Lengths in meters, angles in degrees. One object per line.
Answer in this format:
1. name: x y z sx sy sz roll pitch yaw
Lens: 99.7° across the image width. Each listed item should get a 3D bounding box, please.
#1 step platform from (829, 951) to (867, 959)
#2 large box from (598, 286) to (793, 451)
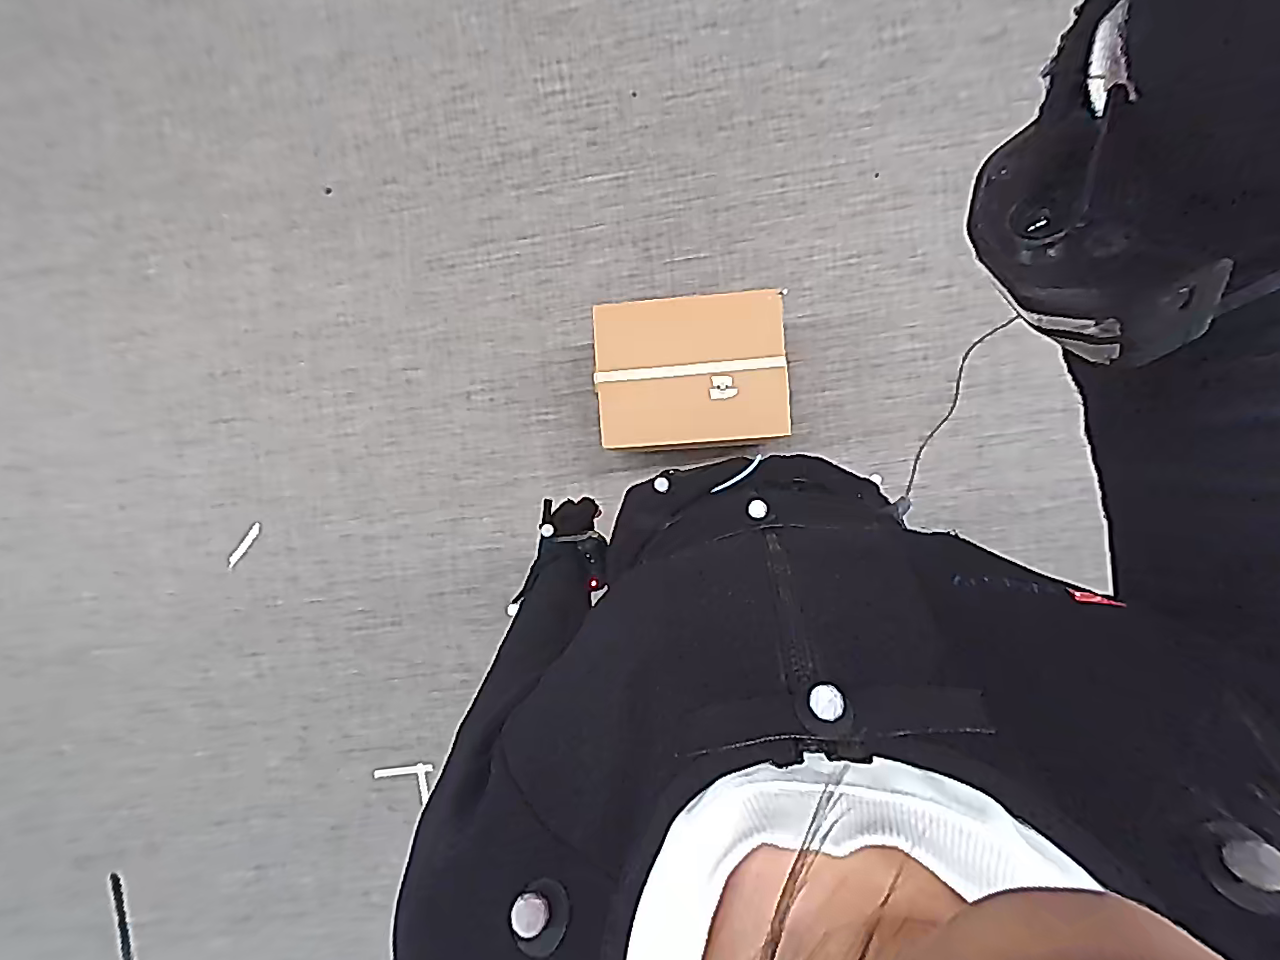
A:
1. step platform: 0.295 1.433 1.376 0.684 0.204 0.286 -8 90 7
2. large box: 0.126 -0.244 1.304 0.408 0.320 0.320 -4 91 4
